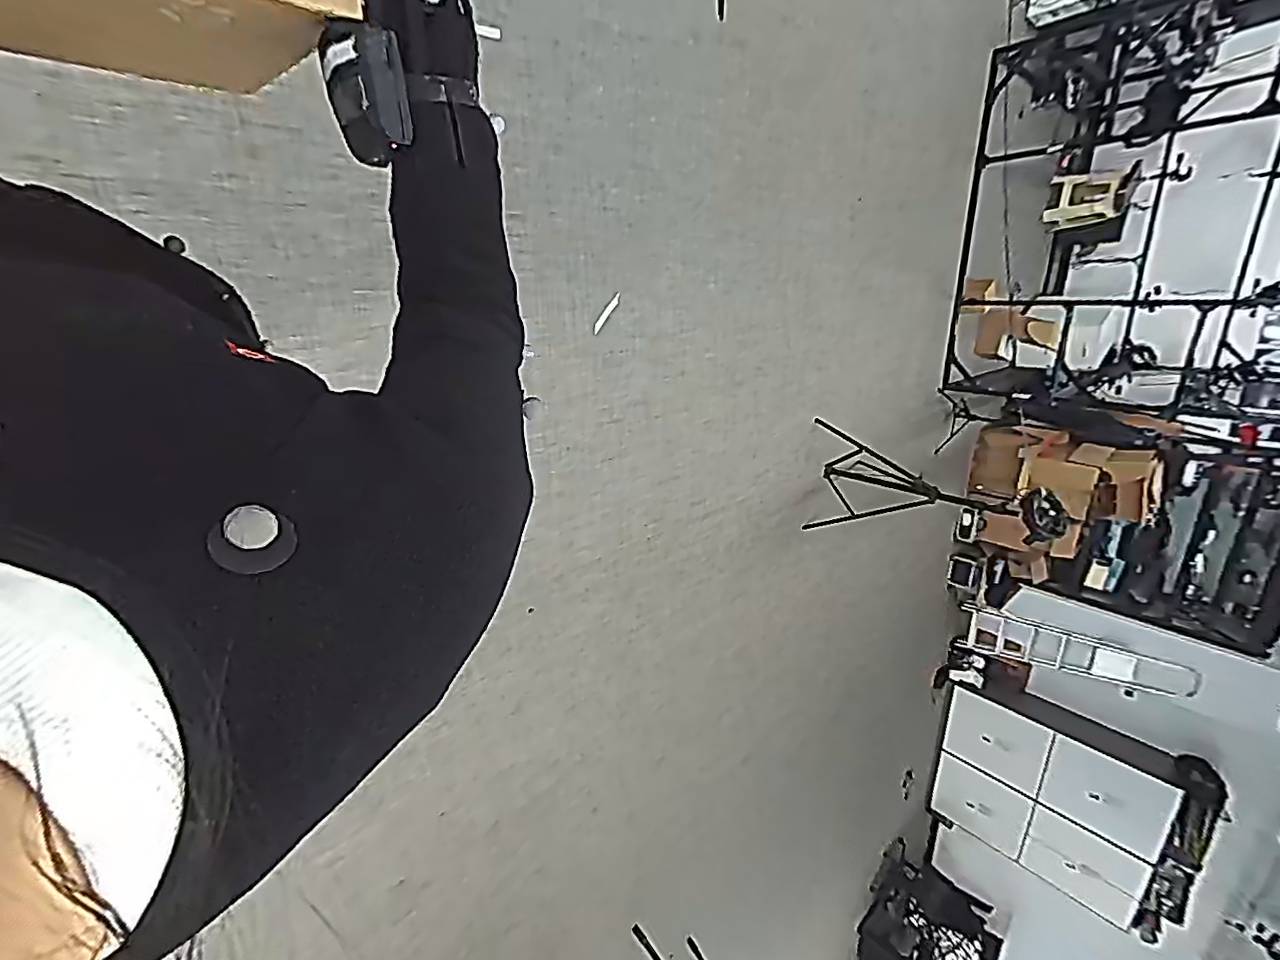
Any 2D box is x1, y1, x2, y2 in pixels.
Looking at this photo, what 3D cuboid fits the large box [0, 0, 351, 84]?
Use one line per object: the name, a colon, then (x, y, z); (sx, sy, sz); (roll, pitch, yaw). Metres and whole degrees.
large box: (-0.412, -0.412, 0.230); (0.408, 0.320, 0.320); (-19, 124, -41)
